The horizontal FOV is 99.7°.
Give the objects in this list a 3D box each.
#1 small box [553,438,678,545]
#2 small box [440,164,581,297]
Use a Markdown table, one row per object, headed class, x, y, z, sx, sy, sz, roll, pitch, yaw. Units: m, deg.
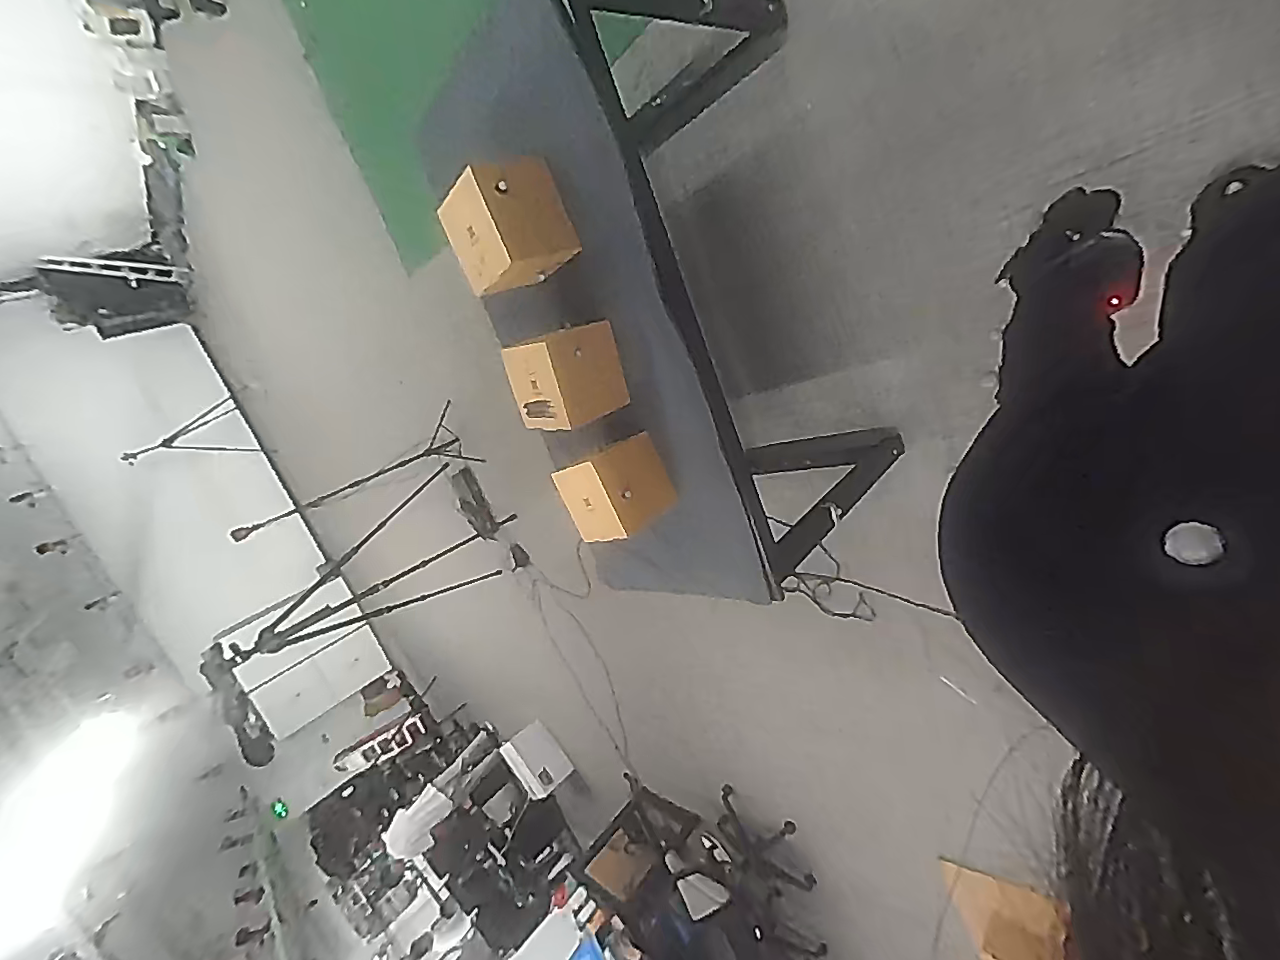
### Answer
| class | x | y | z | sx | sy | sz | roll | pitch | yaw |
| --- | --- | --- | --- | --- | --- | --- | --- | --- | --- |
| small box | -0.051 | 0.020 | 1.170 | 0.168 | 0.176 | 0.179 | -15 | 104 | 51 |
| small box | -0.247 | -0.480 | 1.042 | 0.168 | 0.176 | 0.179 | -10 | 107 | 51 |
